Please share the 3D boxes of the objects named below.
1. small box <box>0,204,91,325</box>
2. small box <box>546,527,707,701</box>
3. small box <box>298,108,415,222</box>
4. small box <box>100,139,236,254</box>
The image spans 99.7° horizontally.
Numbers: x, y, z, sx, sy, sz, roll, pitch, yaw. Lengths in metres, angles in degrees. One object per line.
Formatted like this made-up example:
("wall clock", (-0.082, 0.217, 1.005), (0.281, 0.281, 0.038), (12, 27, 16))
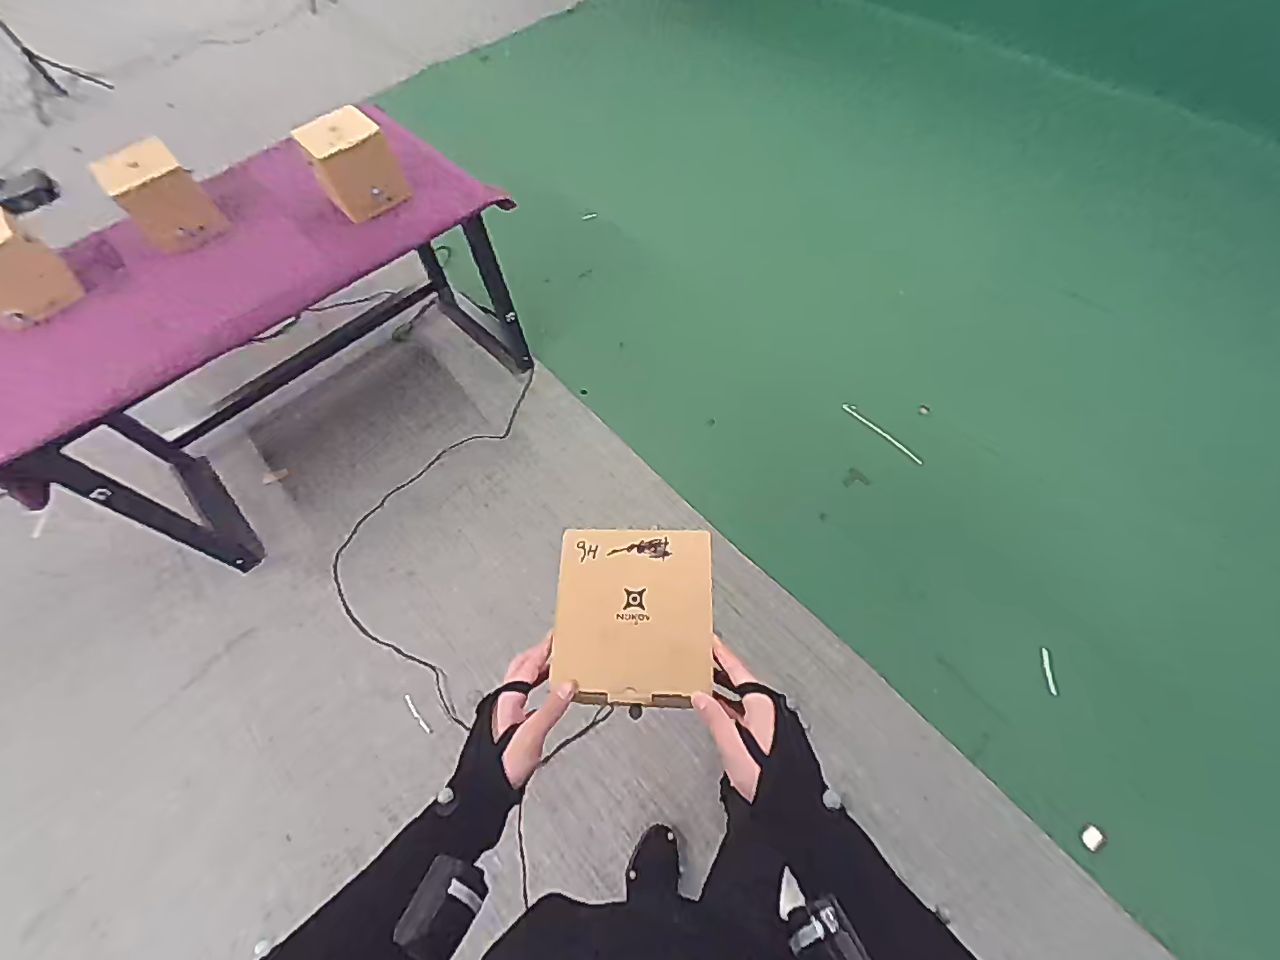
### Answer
("small box", (-1.434, -0.486, 1.243), (0.168, 0.176, 0.179), (-40, 65, -17))
("small box", (-0.004, 0.164, 0.640), (0.168, 0.176, 0.179), (0, 65, 4))
("small box", (-0.703, -0.784, 1.354), (0.168, 0.176, 0.179), (-38, 64, -15))
("small box", (-1.165, -0.700, 1.345), (0.168, 0.176, 0.179), (-39, 66, -15))
